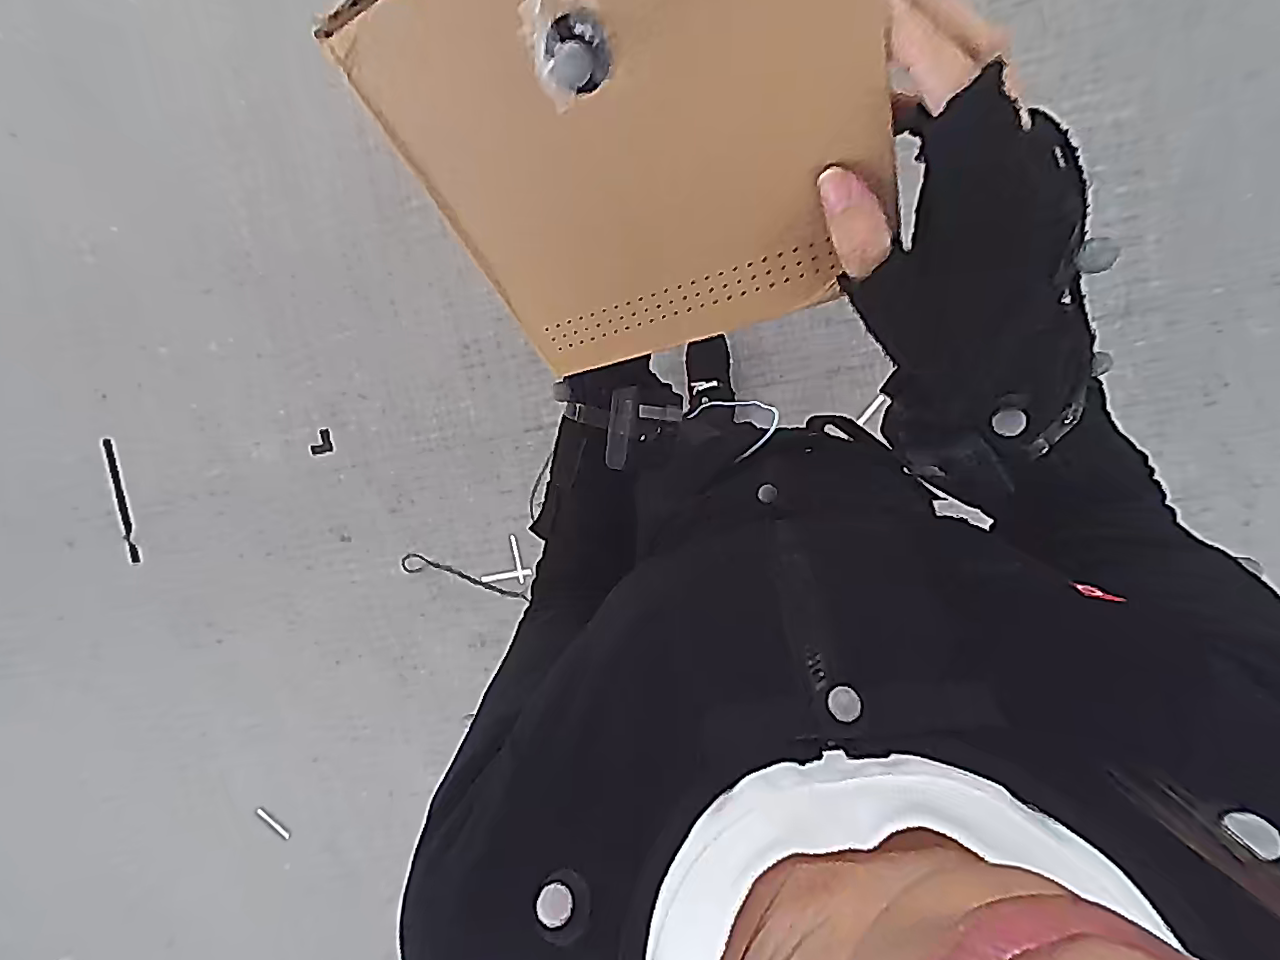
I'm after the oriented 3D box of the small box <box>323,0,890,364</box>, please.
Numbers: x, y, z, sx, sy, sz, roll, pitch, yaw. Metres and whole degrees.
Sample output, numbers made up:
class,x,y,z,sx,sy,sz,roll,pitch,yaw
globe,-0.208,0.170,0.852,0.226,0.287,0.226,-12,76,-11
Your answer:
class,x,y,z,sx,sy,sz,roll,pitch,yaw
small box,0.008,-0.179,0.258,0.179,0.176,0.168,-9,52,24
